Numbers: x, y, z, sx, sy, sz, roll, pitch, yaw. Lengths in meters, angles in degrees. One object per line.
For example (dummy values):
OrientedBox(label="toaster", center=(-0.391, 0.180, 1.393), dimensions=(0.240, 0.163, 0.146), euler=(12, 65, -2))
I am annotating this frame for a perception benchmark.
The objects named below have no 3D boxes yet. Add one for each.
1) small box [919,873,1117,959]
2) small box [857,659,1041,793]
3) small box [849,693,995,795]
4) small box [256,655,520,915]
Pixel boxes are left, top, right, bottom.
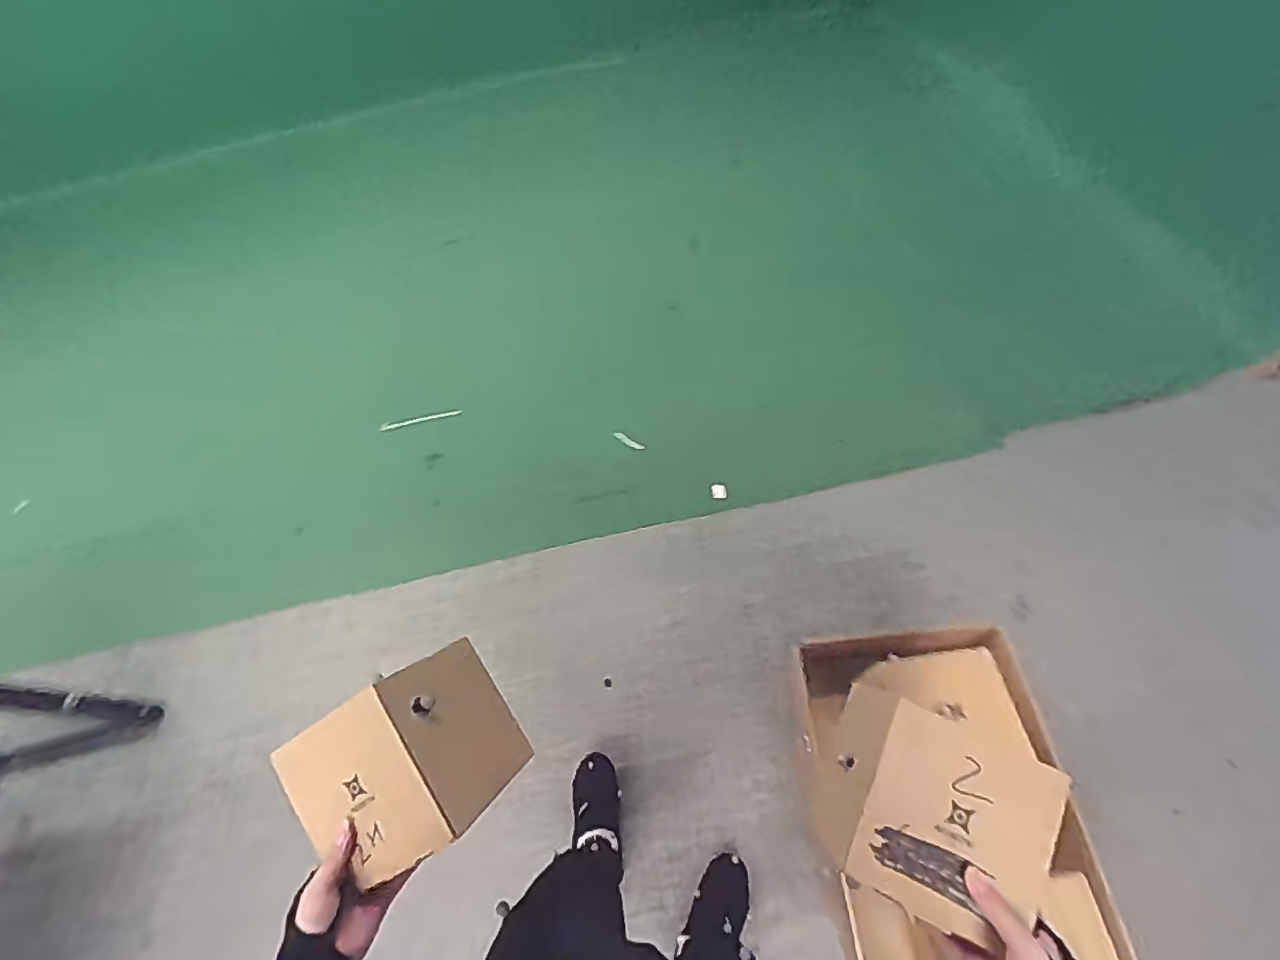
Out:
OrientedBox(label="small box", center=(0.493, 0.633, 0.713), dimensions=(0.179, 0.176, 0.168), euler=(-6, 60, 3))
OrientedBox(label="small box", center=(0.471, 0.392, 0.858), dimensions=(0.179, 0.176, 0.168), euler=(-9, 60, 3))
OrientedBox(label="small box", center=(0.502, 0.474, 0.996), dimensions=(0.168, 0.176, 0.179), euler=(-8, 60, 3))
OrientedBox(label="small box", center=(-0.271, 0.322, 0.614), dimensions=(0.168, 0.176, 0.179), euler=(-35, 82, 13))
